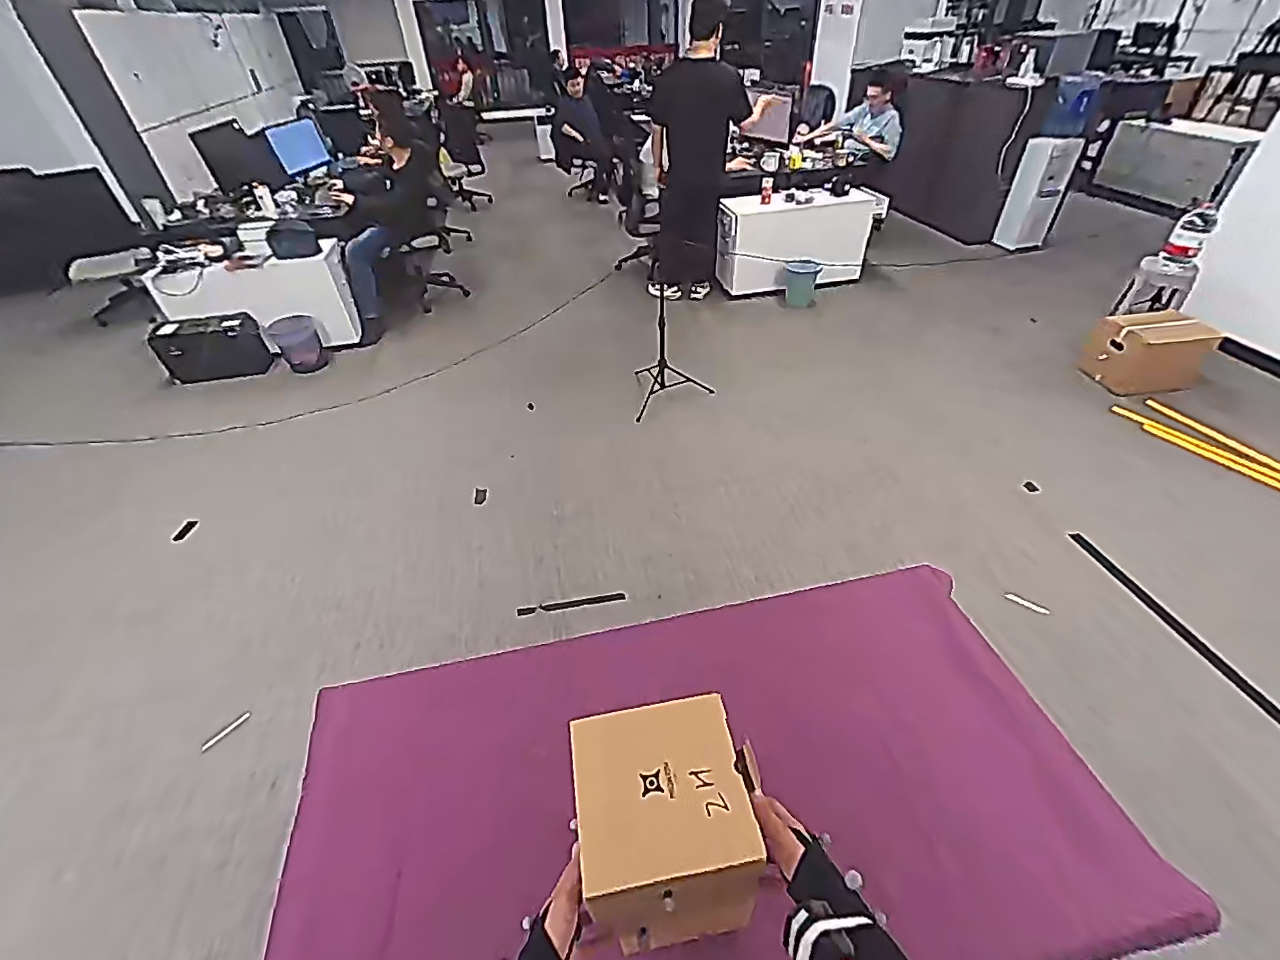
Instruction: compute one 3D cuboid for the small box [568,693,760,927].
[{"bbox_3d":[0.020,0.369,0.606,0.179,0.176,0.168,-8,41,-6],"label":"small box"}]
